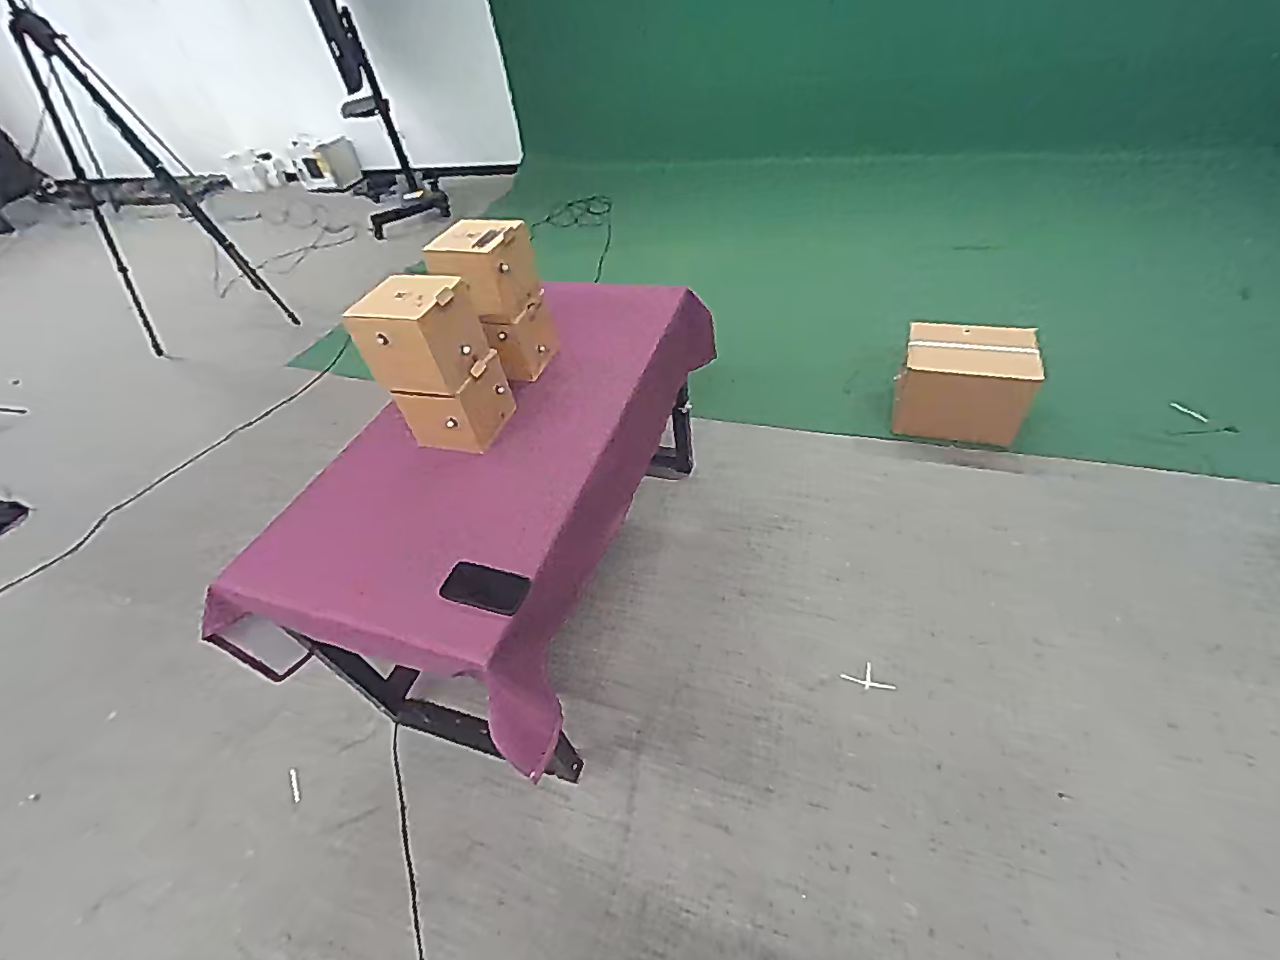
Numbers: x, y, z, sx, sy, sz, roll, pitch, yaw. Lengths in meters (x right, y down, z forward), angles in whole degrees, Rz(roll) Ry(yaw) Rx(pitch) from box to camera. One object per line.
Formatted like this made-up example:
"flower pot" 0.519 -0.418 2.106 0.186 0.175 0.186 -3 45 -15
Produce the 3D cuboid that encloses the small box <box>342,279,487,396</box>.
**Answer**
"small box" -0.439 -0.284 1.080 0.179 0.176 0.168 7 48 17

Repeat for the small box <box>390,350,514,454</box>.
"small box" -0.405 -0.177 1.201 0.179 0.176 0.168 8 48 18

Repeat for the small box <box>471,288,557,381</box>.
"small box" -0.334 -0.368 1.371 0.179 0.176 0.168 8 49 17
